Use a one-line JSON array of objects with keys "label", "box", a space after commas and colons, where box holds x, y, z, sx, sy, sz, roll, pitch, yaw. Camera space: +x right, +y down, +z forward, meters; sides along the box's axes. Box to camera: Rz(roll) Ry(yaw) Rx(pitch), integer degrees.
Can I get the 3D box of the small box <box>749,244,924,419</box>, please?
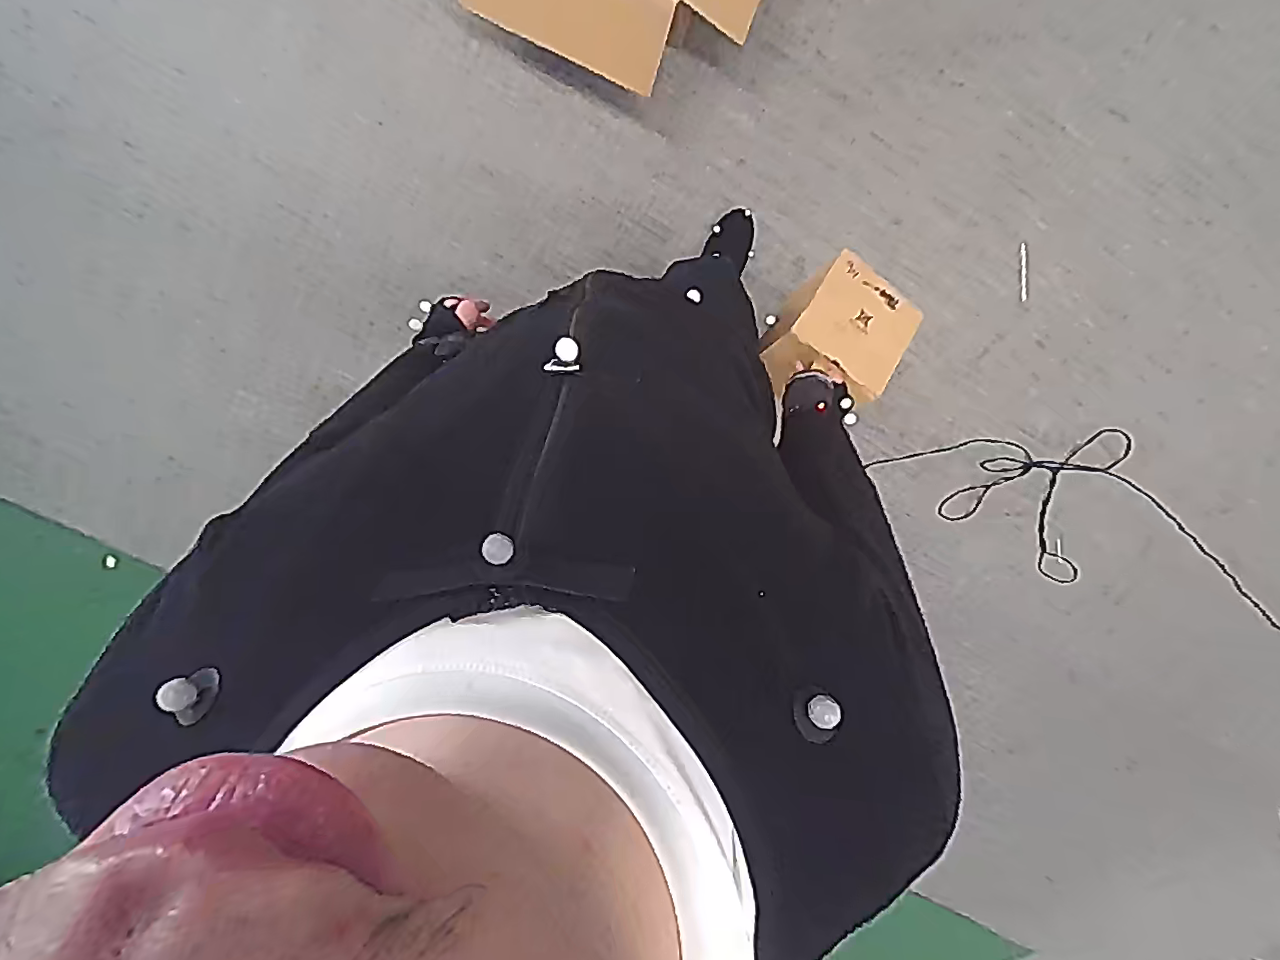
[{"label": "small box", "box": [0.299, -0.223, 0.861, 0.168, 0.176, 0.179, 38, 74, -7]}]
